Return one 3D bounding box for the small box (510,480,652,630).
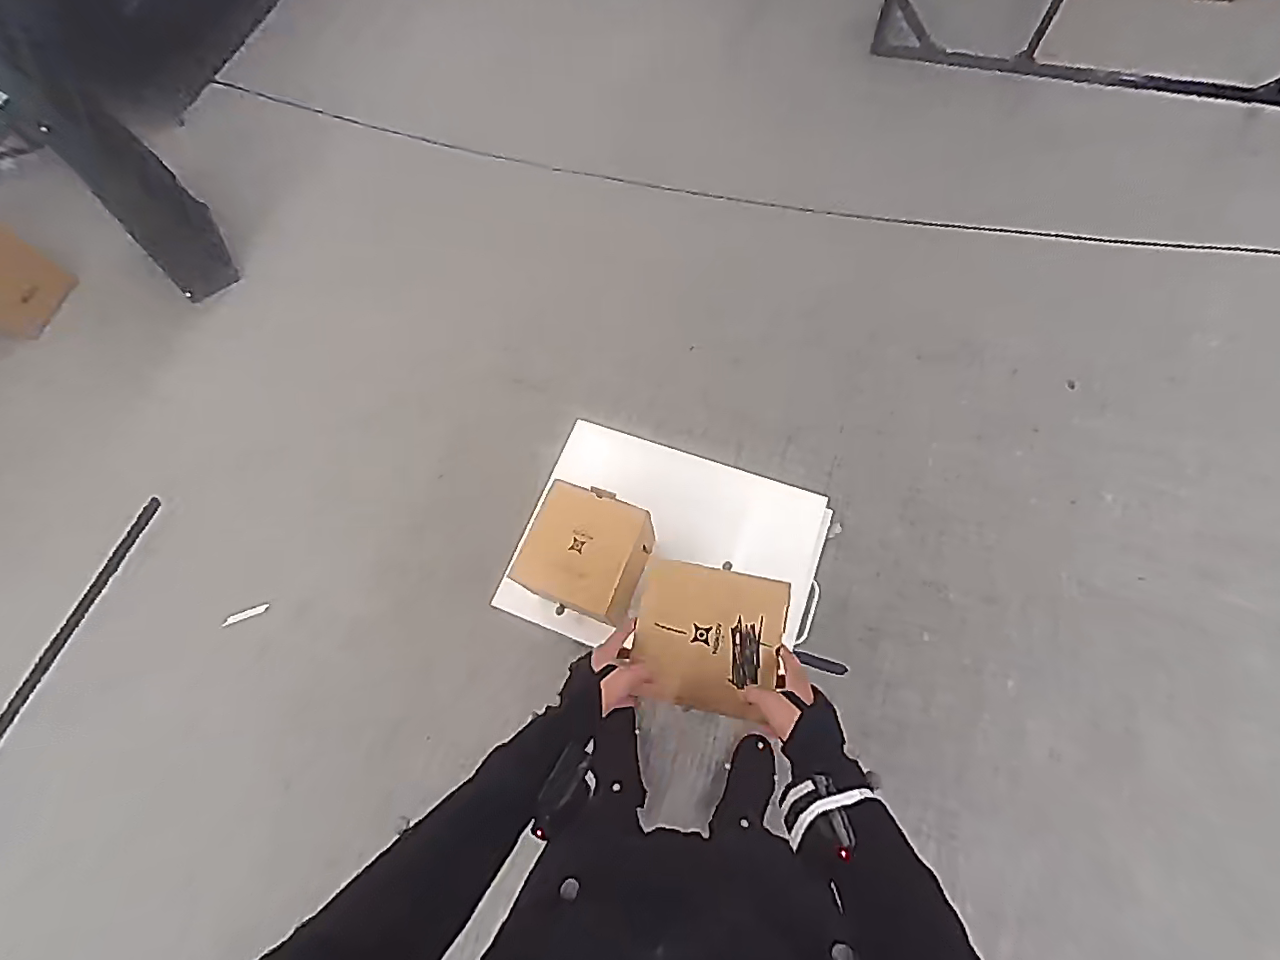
[{"bbox_3d":[-0.086,0.130,0.897,0.168,0.176,0.179,20,71,13],"label":"small box"}]

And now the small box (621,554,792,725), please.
[{"bbox_3d":[0.083,0.200,0.709,0.179,0.176,0.168,11,78,6],"label":"small box"}]
